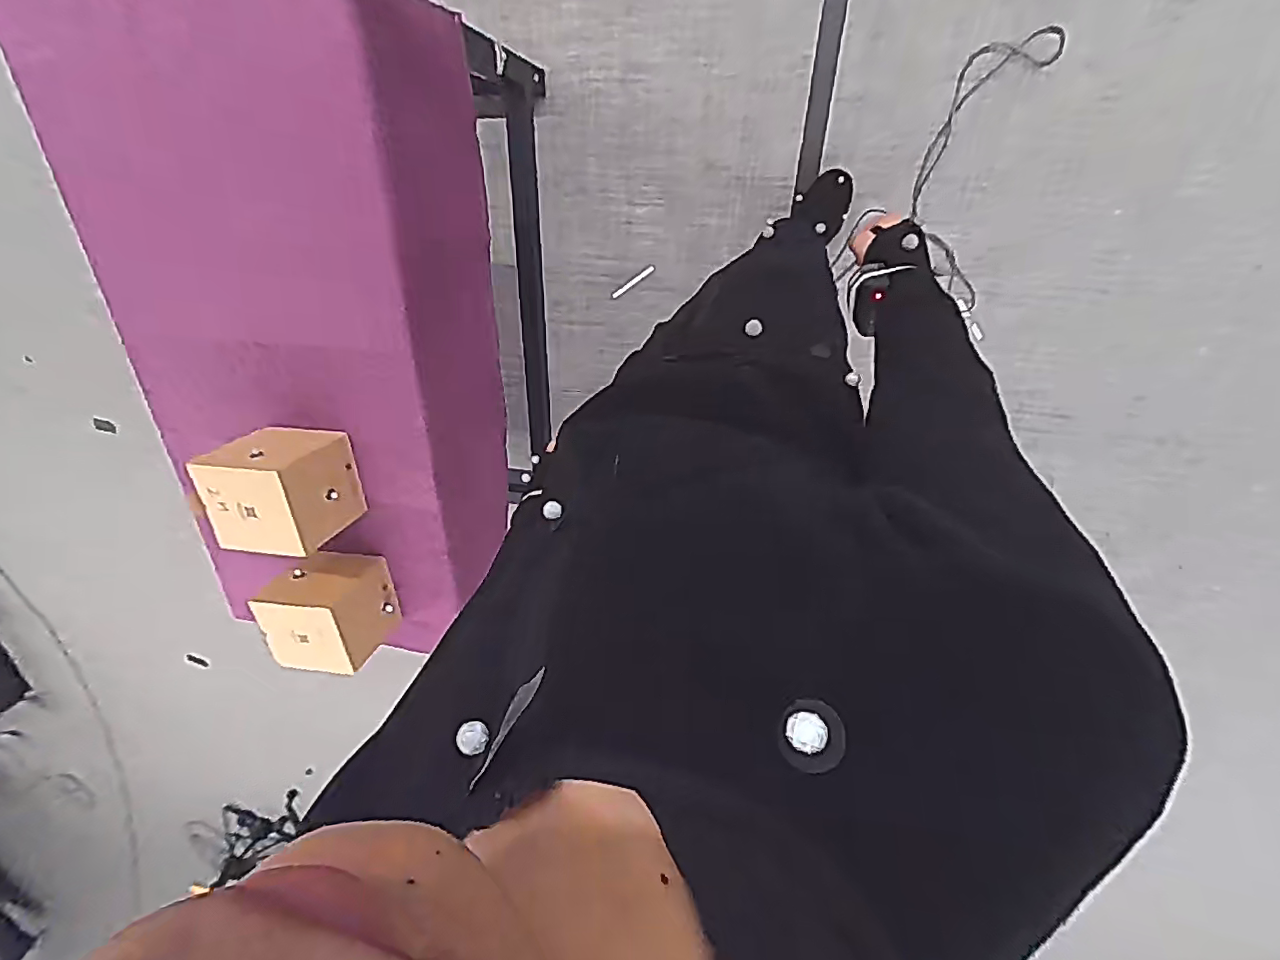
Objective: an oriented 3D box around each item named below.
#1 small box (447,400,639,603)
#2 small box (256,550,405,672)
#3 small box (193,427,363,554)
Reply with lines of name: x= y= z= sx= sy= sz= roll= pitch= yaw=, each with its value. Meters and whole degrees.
small box: x=-0.116 y=0.021 z=0.651 sx=0.176 sy=0.168 sz=0.179 roll=22 pitch=94 yaw=-20
small box: x=-0.614 y=0.258 z=1.095 sx=0.179 sy=0.176 sz=0.168 roll=3 pitch=117 yaw=12
small box: x=-0.631 y=0.012 z=0.973 sx=0.179 sy=0.176 sz=0.168 roll=5 pitch=117 yaw=11
